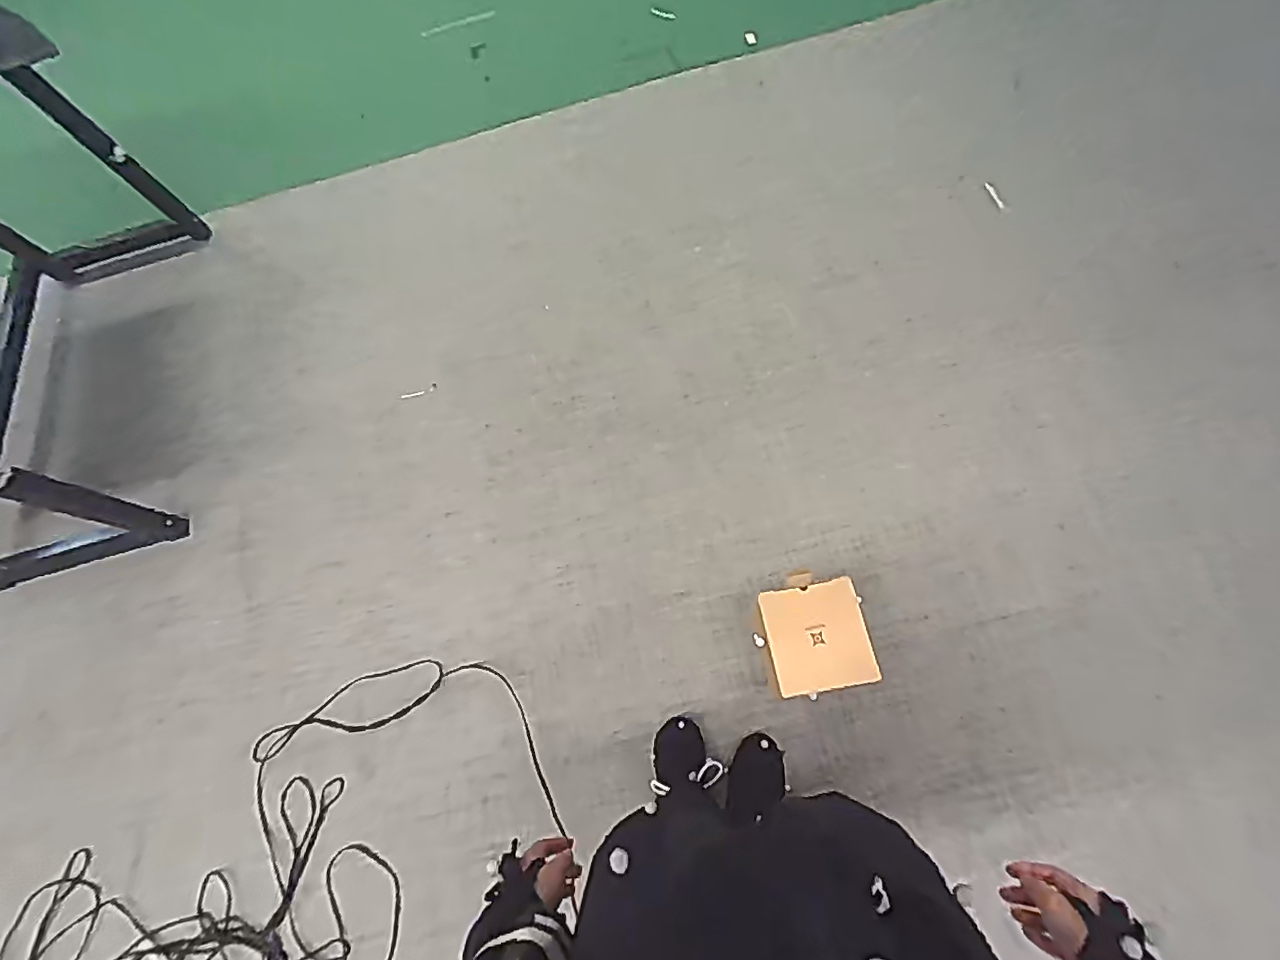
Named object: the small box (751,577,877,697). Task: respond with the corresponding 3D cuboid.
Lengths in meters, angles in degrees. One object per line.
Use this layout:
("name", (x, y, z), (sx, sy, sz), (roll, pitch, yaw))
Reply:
("small box", (0.305, 0.288, 0.987), (0.168, 0.176, 0.179), (-12, 68, 3))
